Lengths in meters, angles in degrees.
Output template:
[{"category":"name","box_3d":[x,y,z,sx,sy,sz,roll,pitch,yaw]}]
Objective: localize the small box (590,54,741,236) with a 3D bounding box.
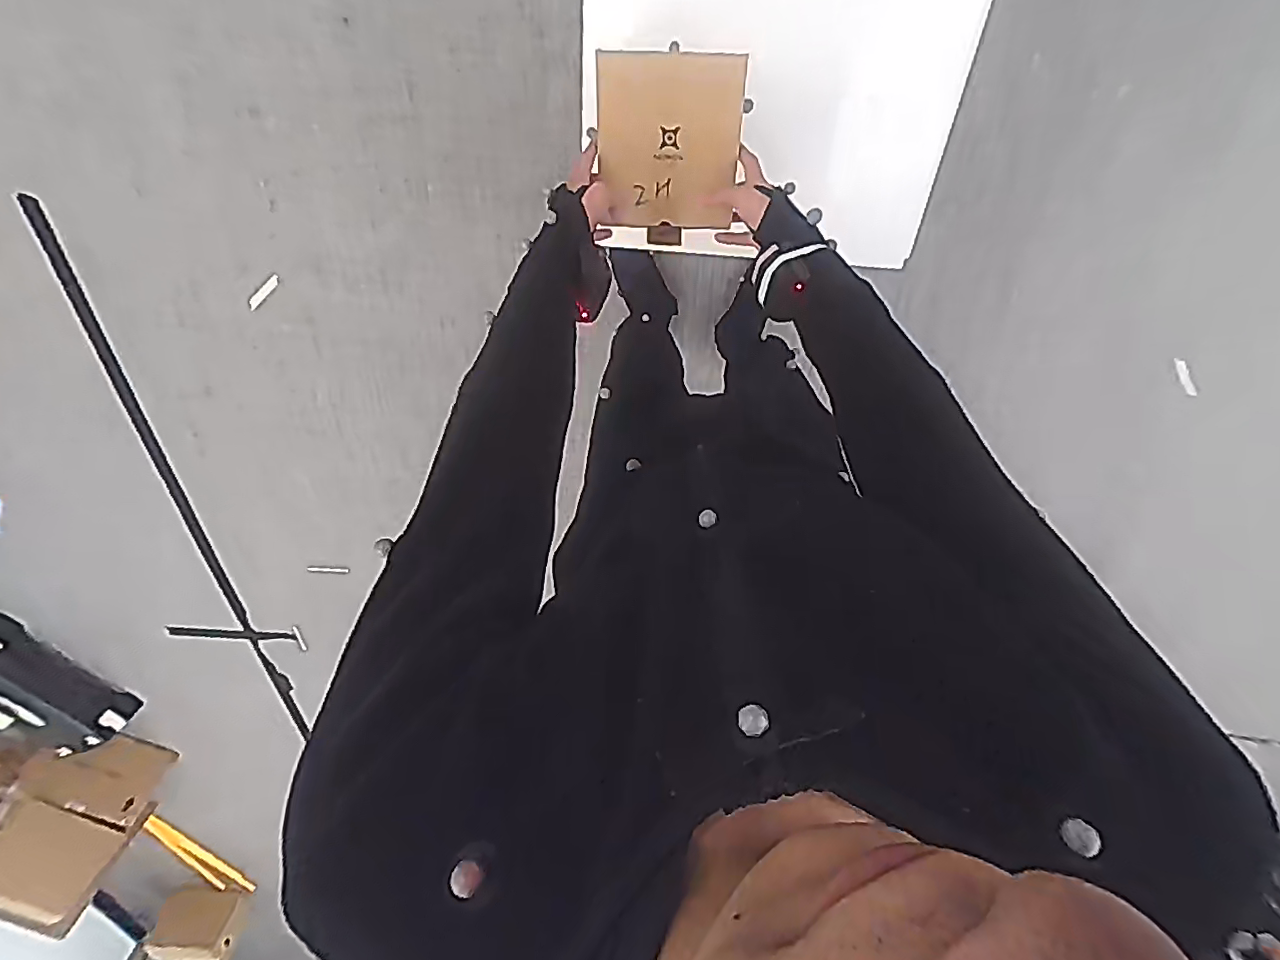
[{"category":"small box","box_3d":[0.025,-0.419,0.685,0.168,0.176,0.179,1,125,0]}]
